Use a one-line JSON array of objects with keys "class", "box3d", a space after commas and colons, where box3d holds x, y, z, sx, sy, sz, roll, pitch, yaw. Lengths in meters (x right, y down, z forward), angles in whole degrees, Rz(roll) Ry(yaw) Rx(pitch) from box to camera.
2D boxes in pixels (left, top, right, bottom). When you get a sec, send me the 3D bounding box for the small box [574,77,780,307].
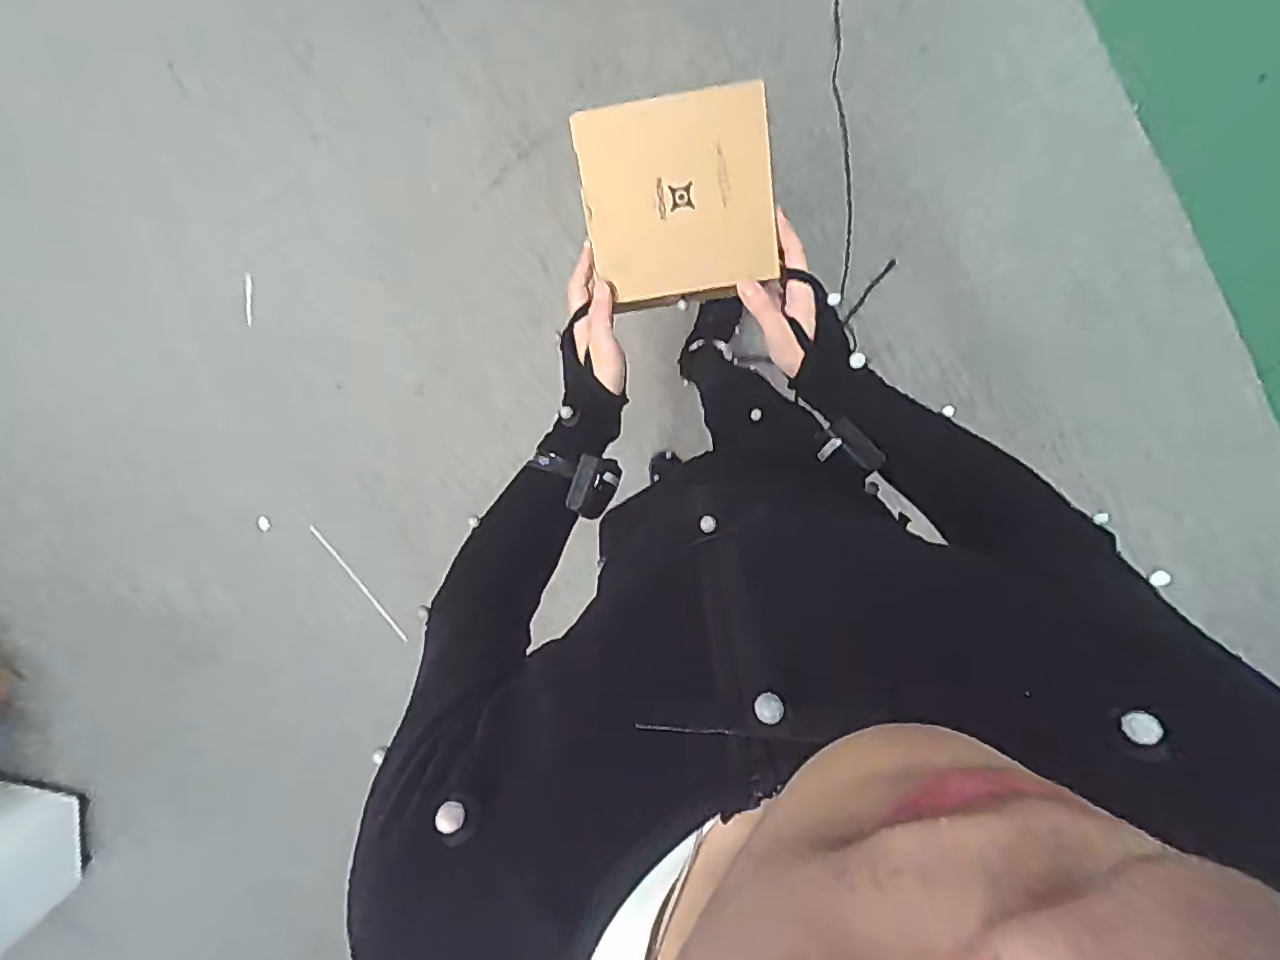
[{"class": "small box", "box3d": [0.038, -0.281, 0.569, 0.179, 0.176, 0.168, -7, 104, 2]}]
